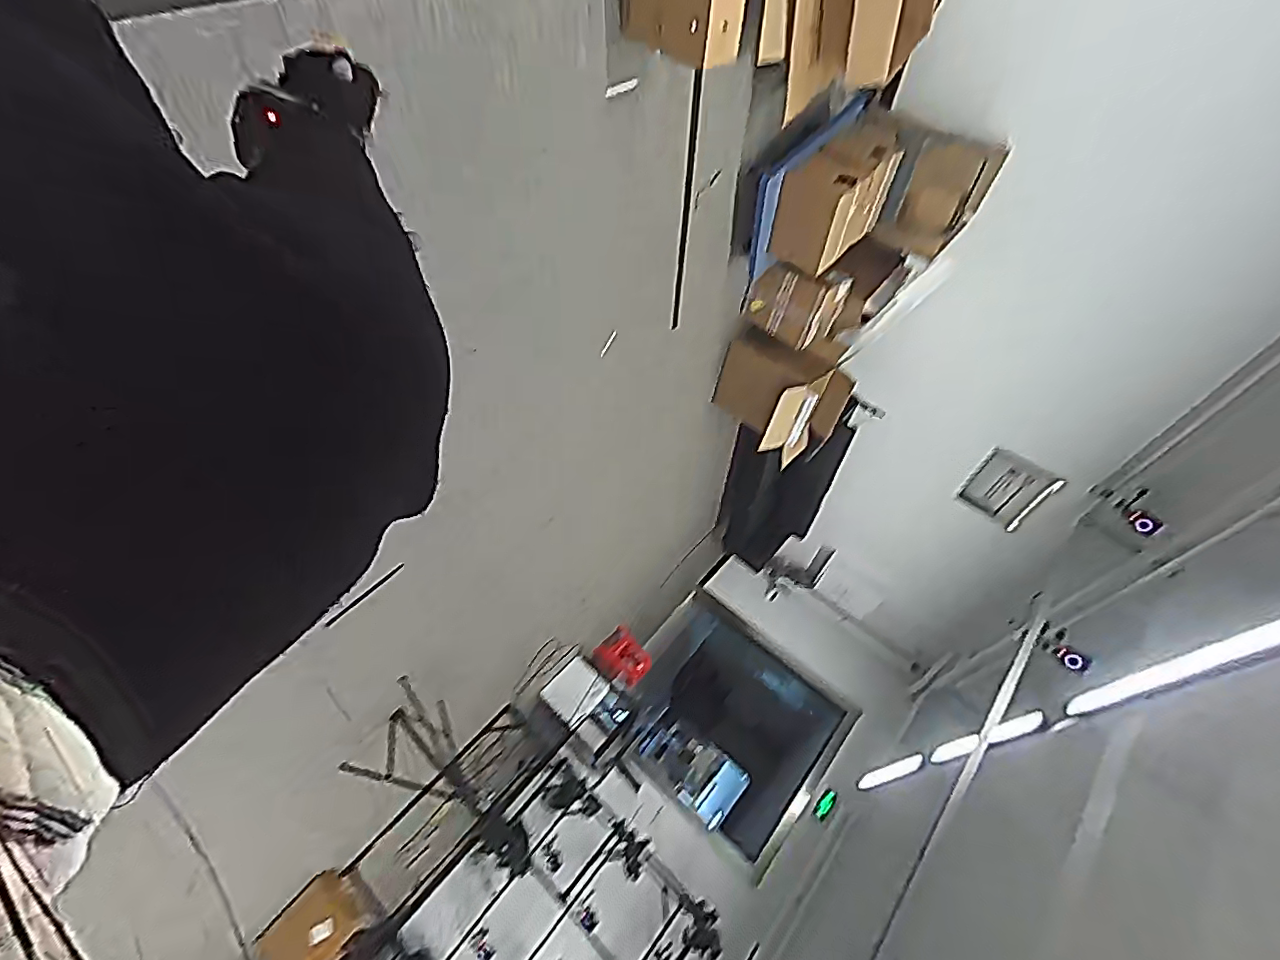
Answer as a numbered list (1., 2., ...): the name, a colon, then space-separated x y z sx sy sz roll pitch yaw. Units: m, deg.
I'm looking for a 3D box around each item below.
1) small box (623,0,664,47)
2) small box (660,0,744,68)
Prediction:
1. small box: 0.062 -1.428 1.616 0.179 0.176 0.168 -43 156 -27
2. small box: 0.174 -1.325 1.551 0.168 0.176 0.179 -41 156 -28
